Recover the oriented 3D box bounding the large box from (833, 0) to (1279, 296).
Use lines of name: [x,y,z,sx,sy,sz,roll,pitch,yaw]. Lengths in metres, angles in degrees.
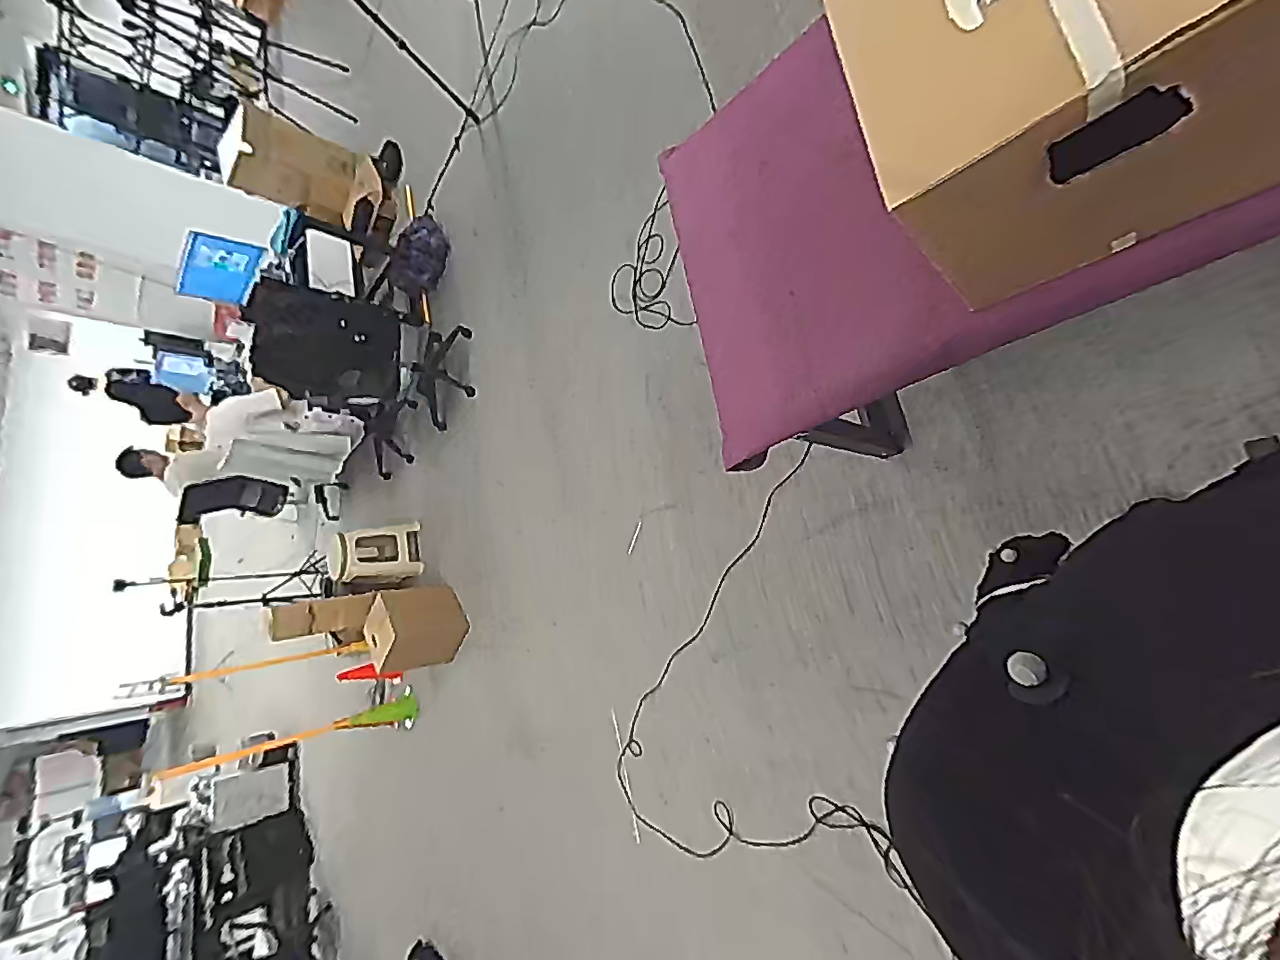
large box: [0.417,-0.477,0.552,0.320,0.320,0.408,-21,73,41]
